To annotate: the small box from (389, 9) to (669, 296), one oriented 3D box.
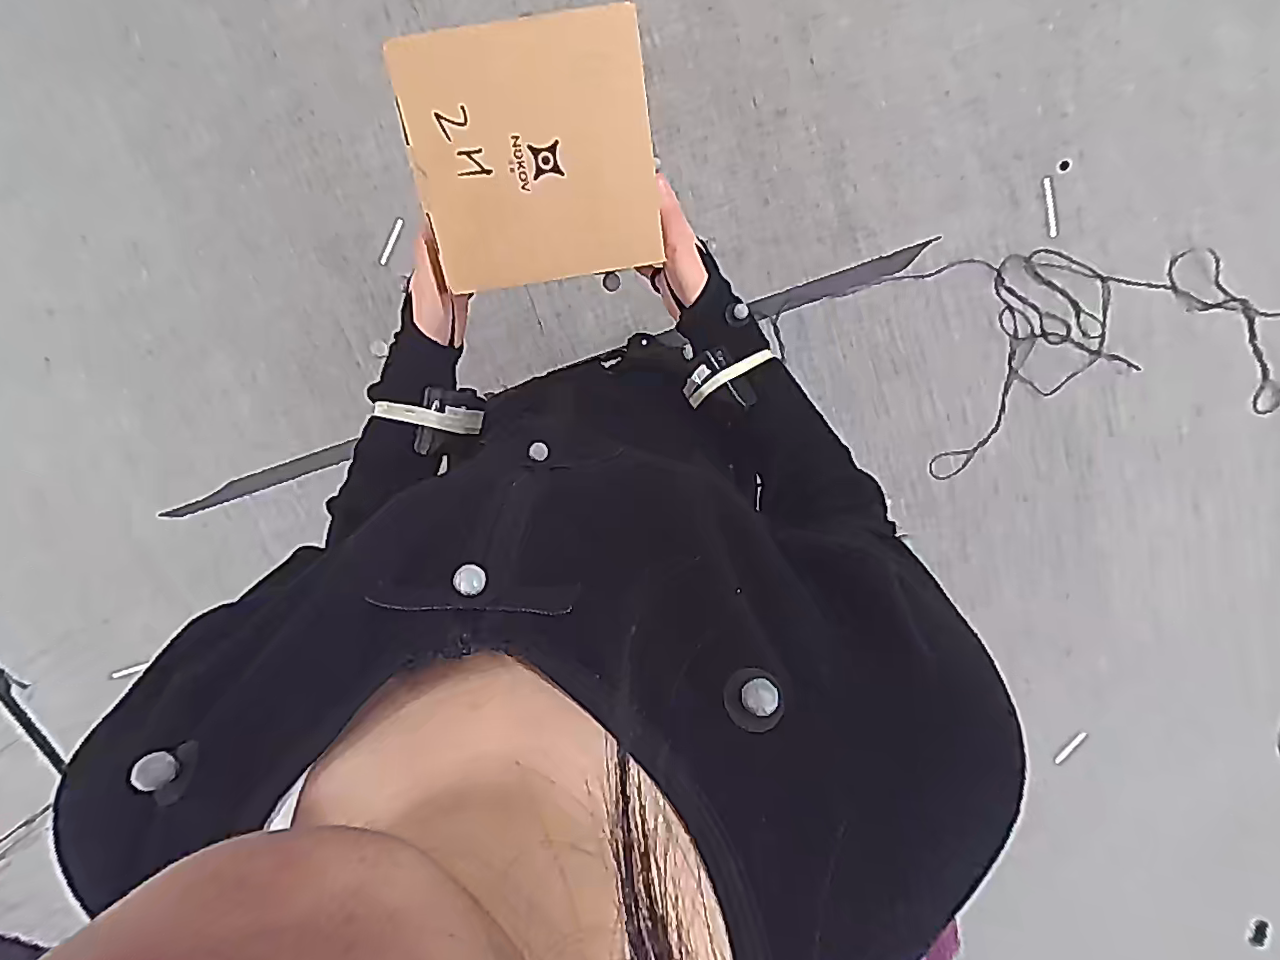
[{"bbox_3d":[-0.079,-0.262,0.465,0.179,0.176,0.168,-9,113,0],"label":"small box"}]
